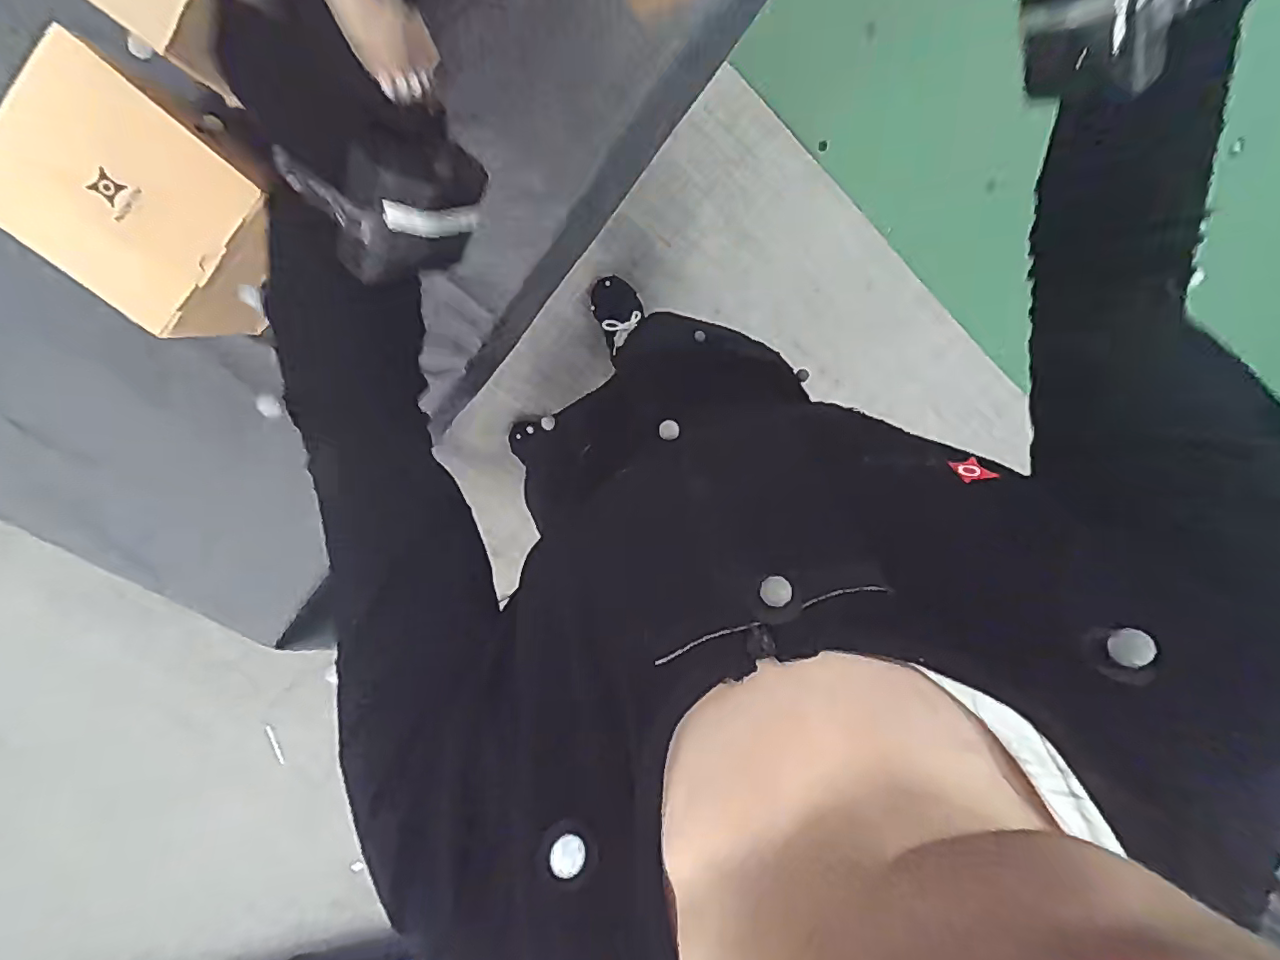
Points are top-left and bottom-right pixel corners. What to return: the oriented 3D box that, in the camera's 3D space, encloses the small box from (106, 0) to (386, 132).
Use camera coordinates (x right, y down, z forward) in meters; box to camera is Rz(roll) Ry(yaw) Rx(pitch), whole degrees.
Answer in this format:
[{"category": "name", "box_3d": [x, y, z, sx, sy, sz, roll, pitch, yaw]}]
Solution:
[{"category": "small box", "box_3d": [-0.284, -0.375, 0.345, 0.168, 0.176, 0.179, 35, 99, -15]}]
